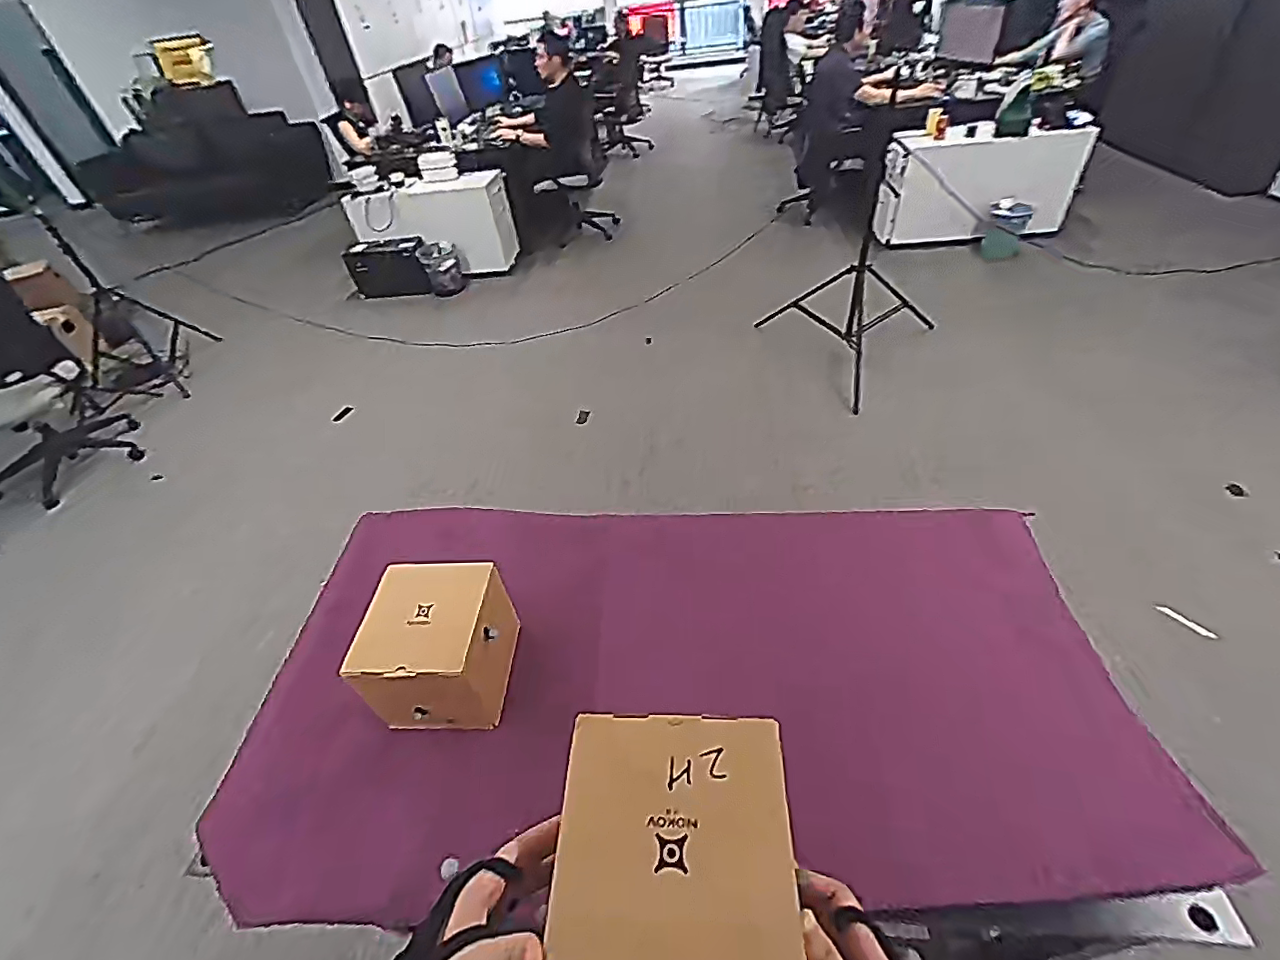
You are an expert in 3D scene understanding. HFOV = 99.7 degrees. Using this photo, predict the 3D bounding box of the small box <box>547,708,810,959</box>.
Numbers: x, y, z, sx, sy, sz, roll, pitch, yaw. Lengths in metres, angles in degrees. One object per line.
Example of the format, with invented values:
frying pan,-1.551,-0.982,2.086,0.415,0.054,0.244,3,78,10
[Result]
small box,0.034,0.305,0.434,0.168,0.176,0.179,-1,43,5

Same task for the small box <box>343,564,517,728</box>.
small box,-0.290,0.243,0.797,0.168,0.176,0.179,-2,44,5
